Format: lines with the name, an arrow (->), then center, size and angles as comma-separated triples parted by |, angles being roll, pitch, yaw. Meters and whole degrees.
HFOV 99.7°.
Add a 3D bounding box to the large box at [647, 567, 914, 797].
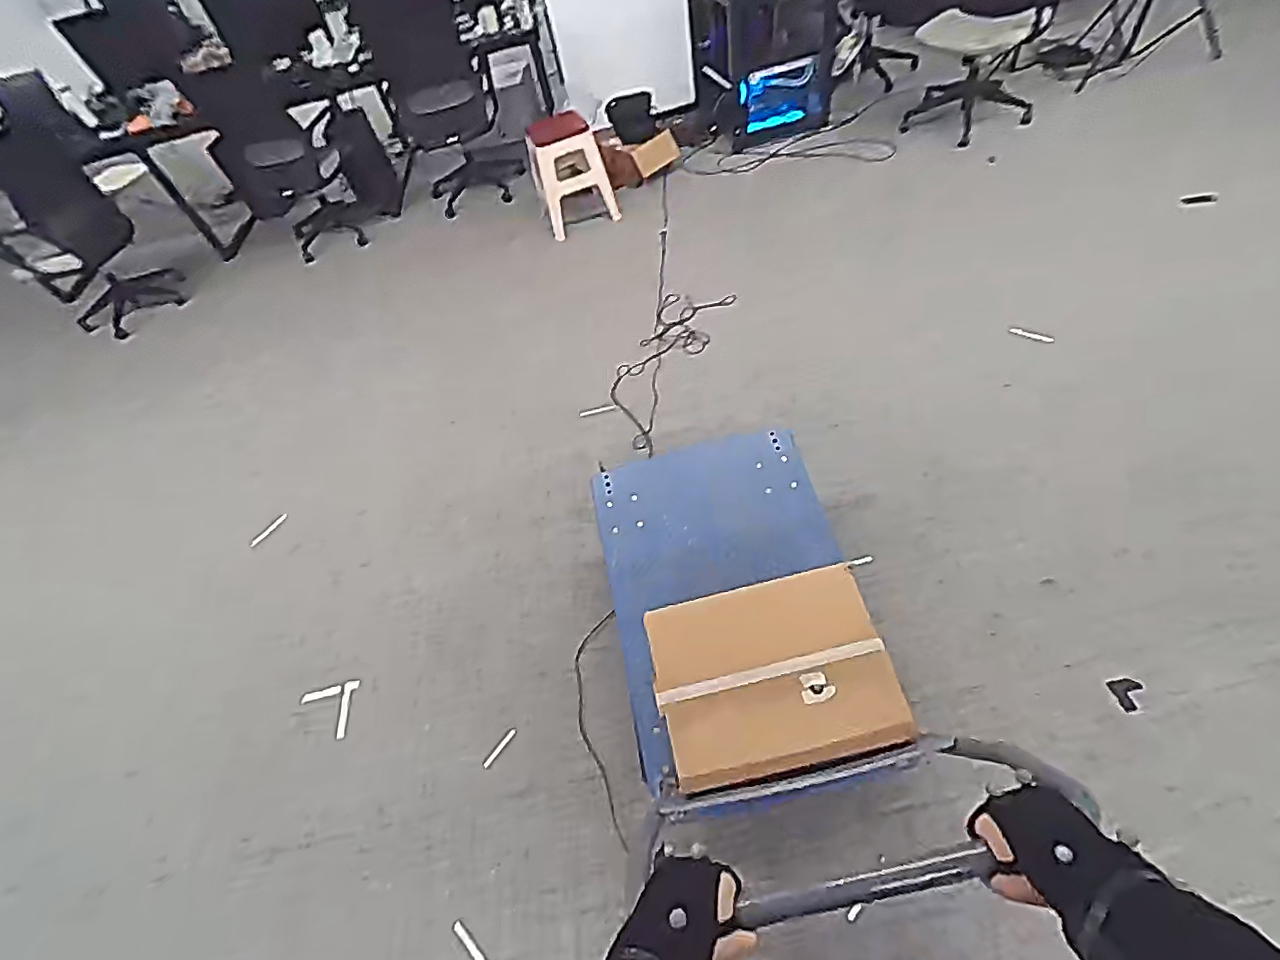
large box -> 0.255, 0.418, 1.107 | 0.408, 0.320, 0.320 | -15, 63, 1
